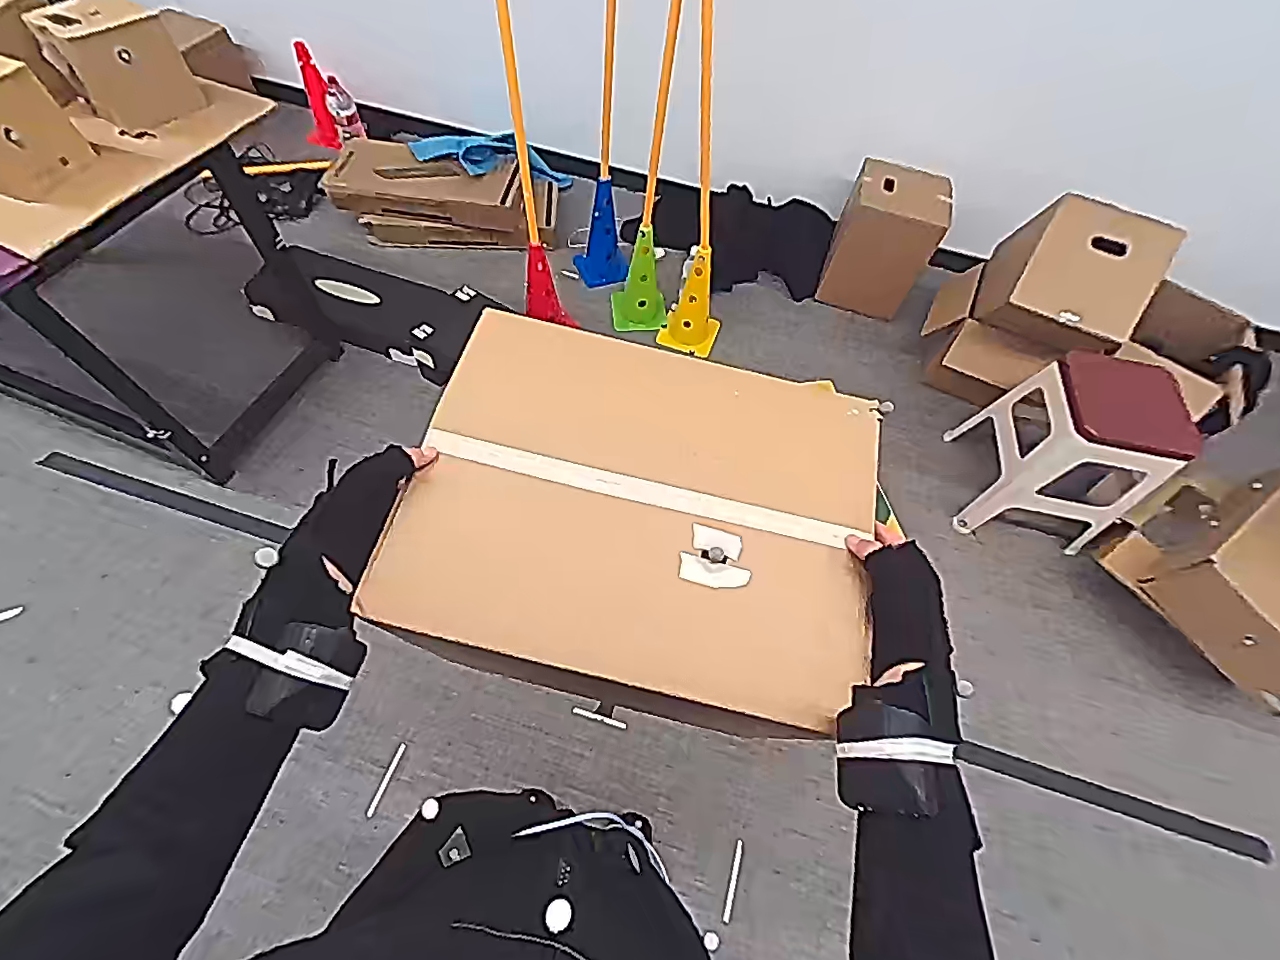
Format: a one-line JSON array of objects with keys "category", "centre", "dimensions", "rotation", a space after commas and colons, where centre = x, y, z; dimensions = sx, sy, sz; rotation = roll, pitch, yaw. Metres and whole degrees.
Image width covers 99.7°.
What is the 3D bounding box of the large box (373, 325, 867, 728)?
[{"category": "large box", "centre": [-0.007, 0.079, 0.624], "dimensions": [0.408, 0.320, 0.320], "rotation": [14, 66, 0]}]
